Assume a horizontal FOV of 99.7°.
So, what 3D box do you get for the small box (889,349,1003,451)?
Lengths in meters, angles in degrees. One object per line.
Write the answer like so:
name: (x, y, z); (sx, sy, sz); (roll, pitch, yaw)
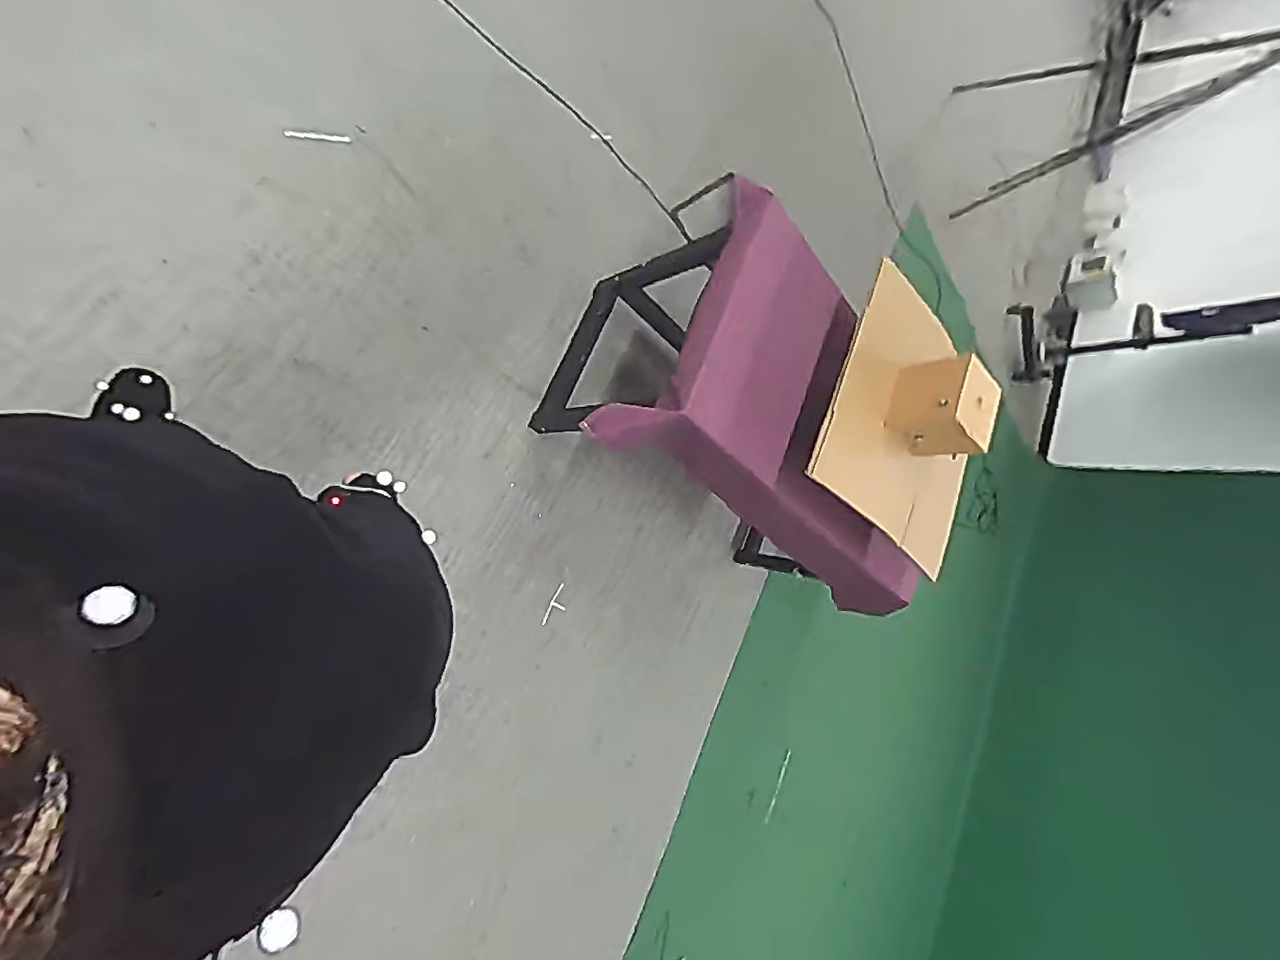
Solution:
small box: (0.726, -0.183, 1.290); (0.168, 0.176, 0.179); (31, 74, -29)
